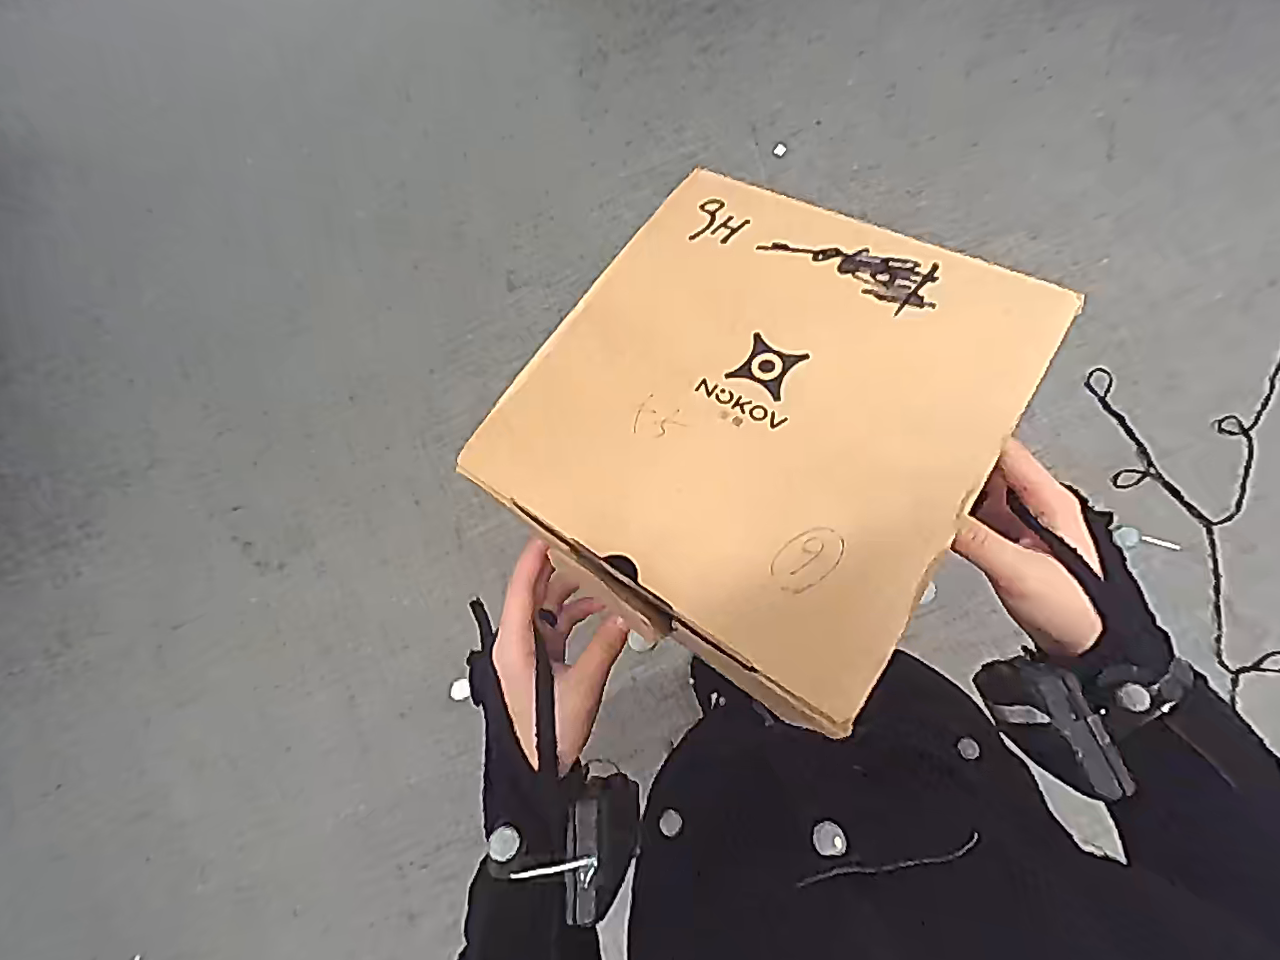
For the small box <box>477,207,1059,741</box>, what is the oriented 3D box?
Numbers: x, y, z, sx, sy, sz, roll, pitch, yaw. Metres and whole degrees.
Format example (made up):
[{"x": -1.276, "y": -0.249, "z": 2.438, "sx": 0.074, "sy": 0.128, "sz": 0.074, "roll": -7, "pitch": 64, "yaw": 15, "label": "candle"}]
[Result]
[{"x": 0.059, "y": 0.006, "z": 0.284, "sx": 0.168, "sy": 0.176, "sz": 0.179, "roll": 31, "pitch": 76, "yaw": 21, "label": "small box"}]
